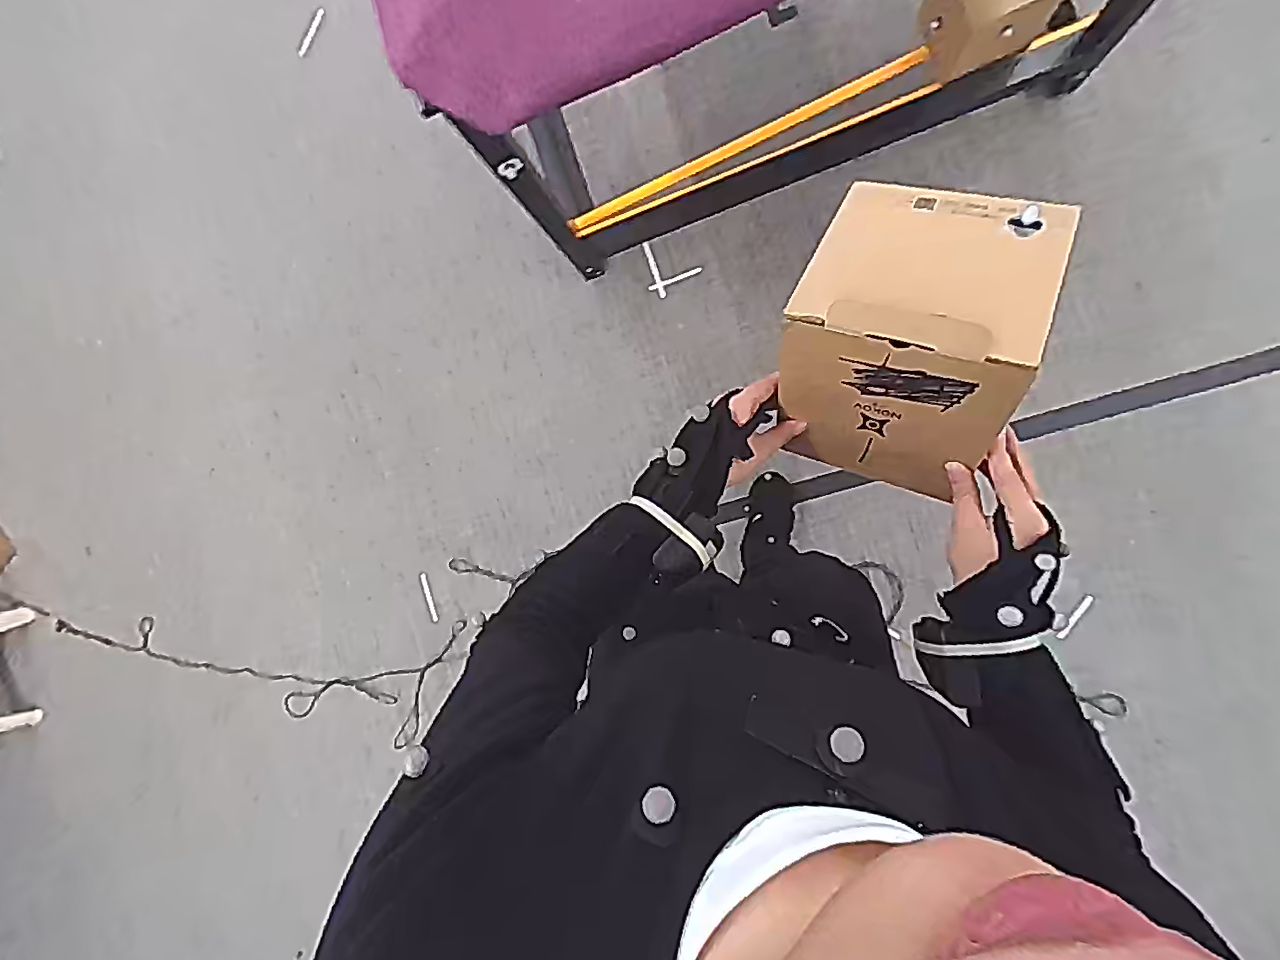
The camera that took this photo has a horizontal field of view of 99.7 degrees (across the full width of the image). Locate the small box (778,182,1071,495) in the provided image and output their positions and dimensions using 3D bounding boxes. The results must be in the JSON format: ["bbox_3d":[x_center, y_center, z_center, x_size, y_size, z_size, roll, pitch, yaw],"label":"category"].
[{"bbox_3d":[0.230,-0.121,0.461,0.168,0.179,0.176,21,66,23],"label":"small box"}]

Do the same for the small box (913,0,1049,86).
[{"bbox_3d":[0.656,-0.922,1.050,0.179,0.176,0.168,-19,90,10],"label":"small box"}]
